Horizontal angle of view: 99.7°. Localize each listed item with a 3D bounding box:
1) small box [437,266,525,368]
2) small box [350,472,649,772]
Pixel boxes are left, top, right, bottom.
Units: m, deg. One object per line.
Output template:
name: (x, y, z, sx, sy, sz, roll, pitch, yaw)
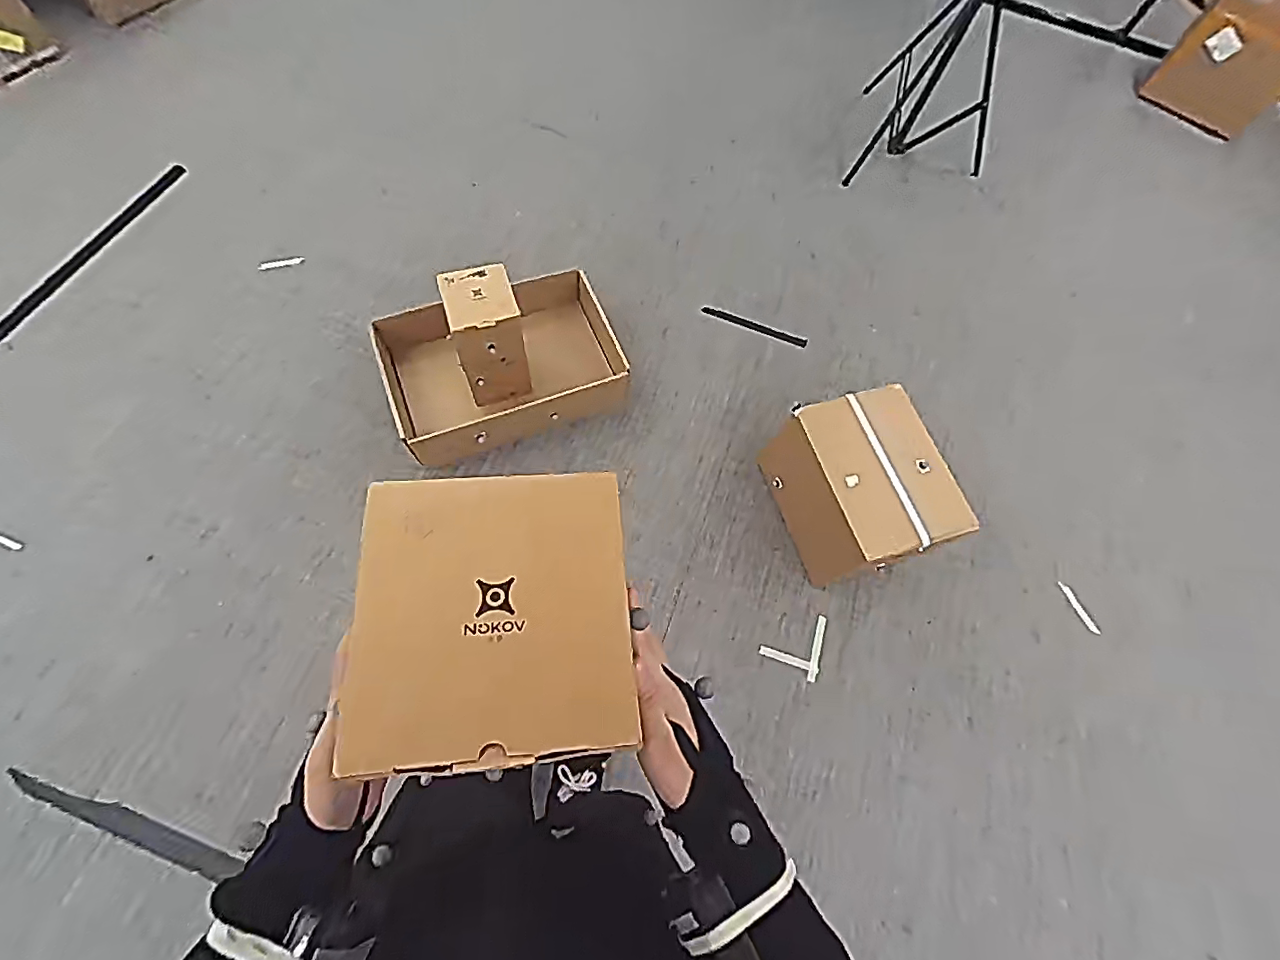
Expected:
small box: (-0.395, -0.400, 1.361, 0.168, 0.176, 0.179, -16, 70, -13)
small box: (-0.095, 0.109, 0.407, 0.168, 0.176, 0.179, -3, 66, -10)
